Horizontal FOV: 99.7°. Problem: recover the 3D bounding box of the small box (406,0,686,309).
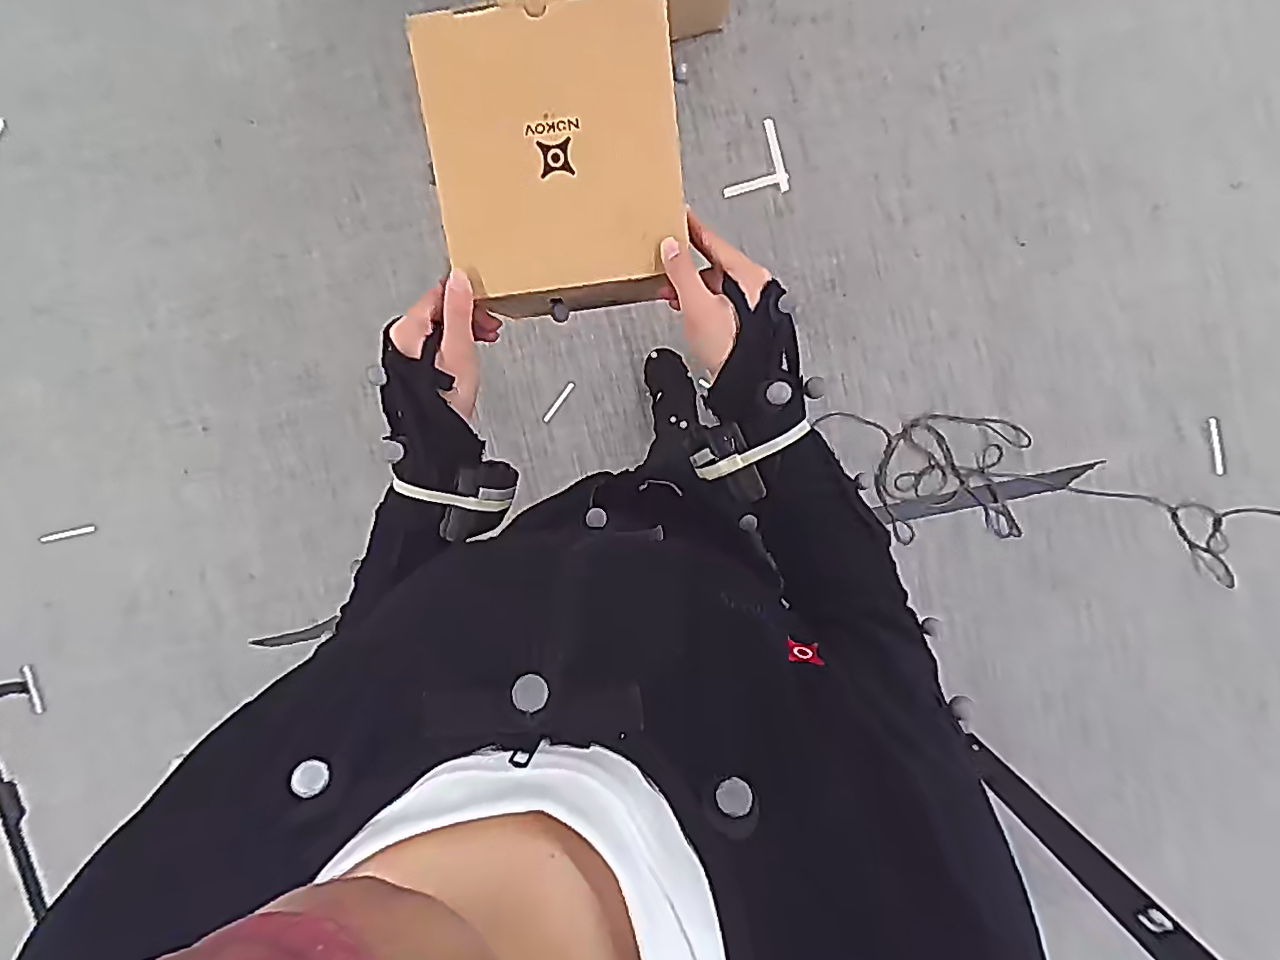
[{"bbox_3d":[-0.056,-0.238,0.431,0.168,0.176,0.179,-7,101,2],"label":"small box"}]
